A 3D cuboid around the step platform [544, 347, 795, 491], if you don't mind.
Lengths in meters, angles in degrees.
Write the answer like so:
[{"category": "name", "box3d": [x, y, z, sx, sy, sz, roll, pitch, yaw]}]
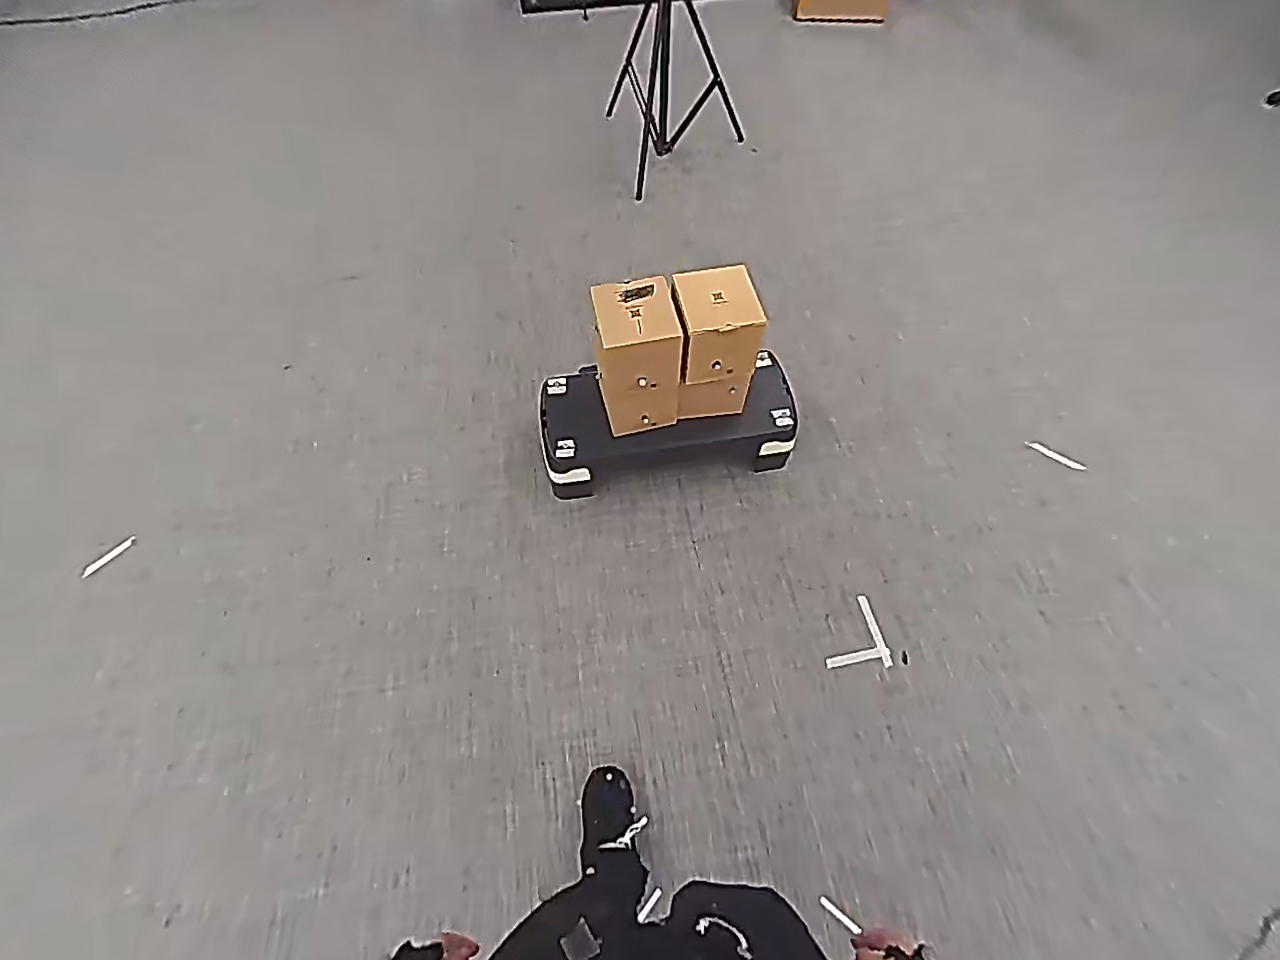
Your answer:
[{"category": "step platform", "box3d": [0.078, -0.175, 1.514, 0.684, 0.204, 0.286, -9, 61, -4]}]
